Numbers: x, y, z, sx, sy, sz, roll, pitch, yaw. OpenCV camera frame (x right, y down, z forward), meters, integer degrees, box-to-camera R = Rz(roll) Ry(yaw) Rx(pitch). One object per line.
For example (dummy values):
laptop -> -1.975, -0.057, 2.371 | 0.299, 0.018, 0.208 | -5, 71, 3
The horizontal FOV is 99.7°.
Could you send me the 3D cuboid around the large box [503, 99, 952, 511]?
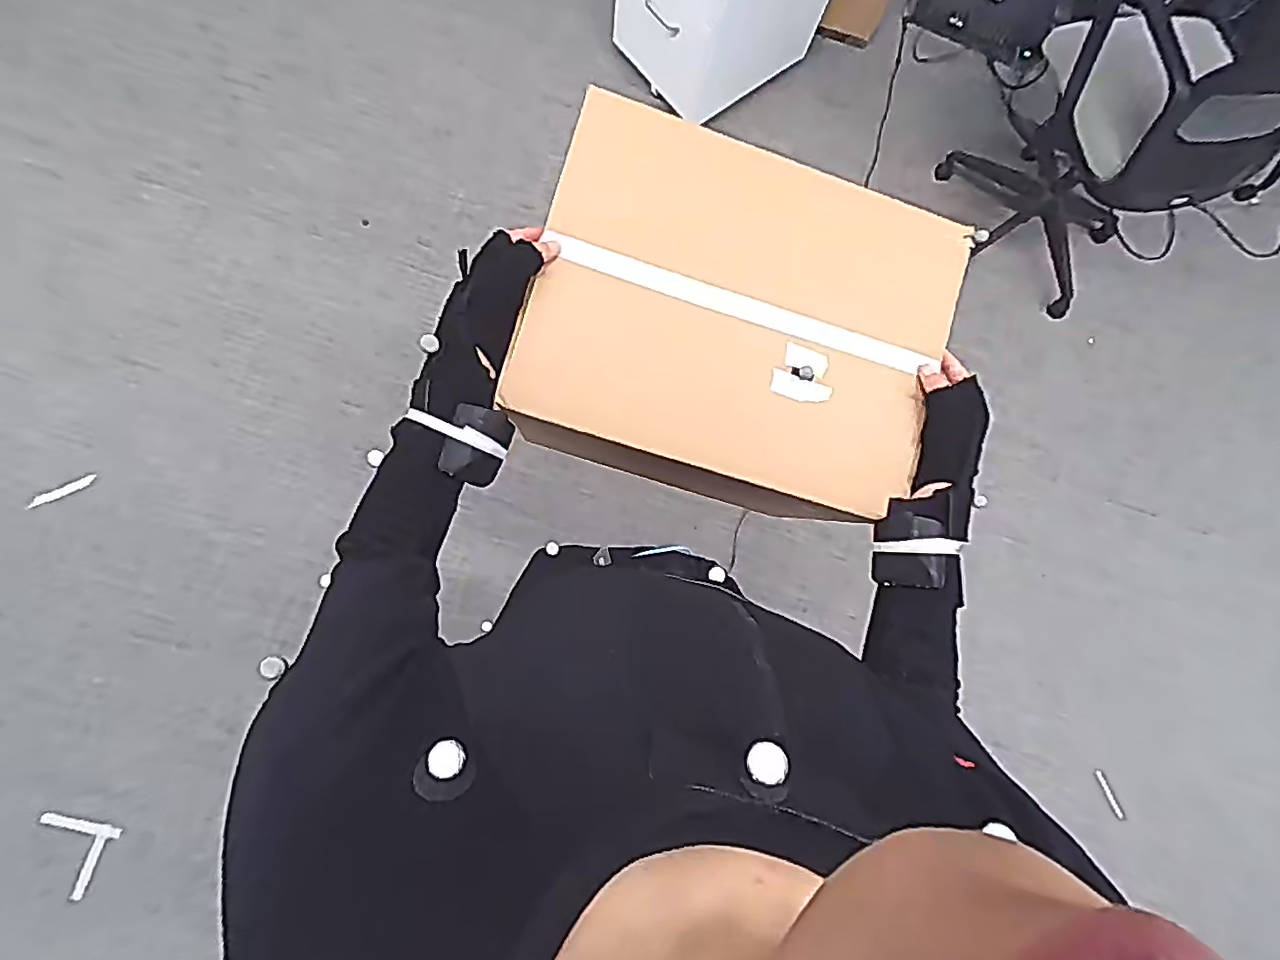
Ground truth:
large box -> 0.077, -0.161, 0.675 | 0.408, 0.320, 0.320 | 17, 87, -8
